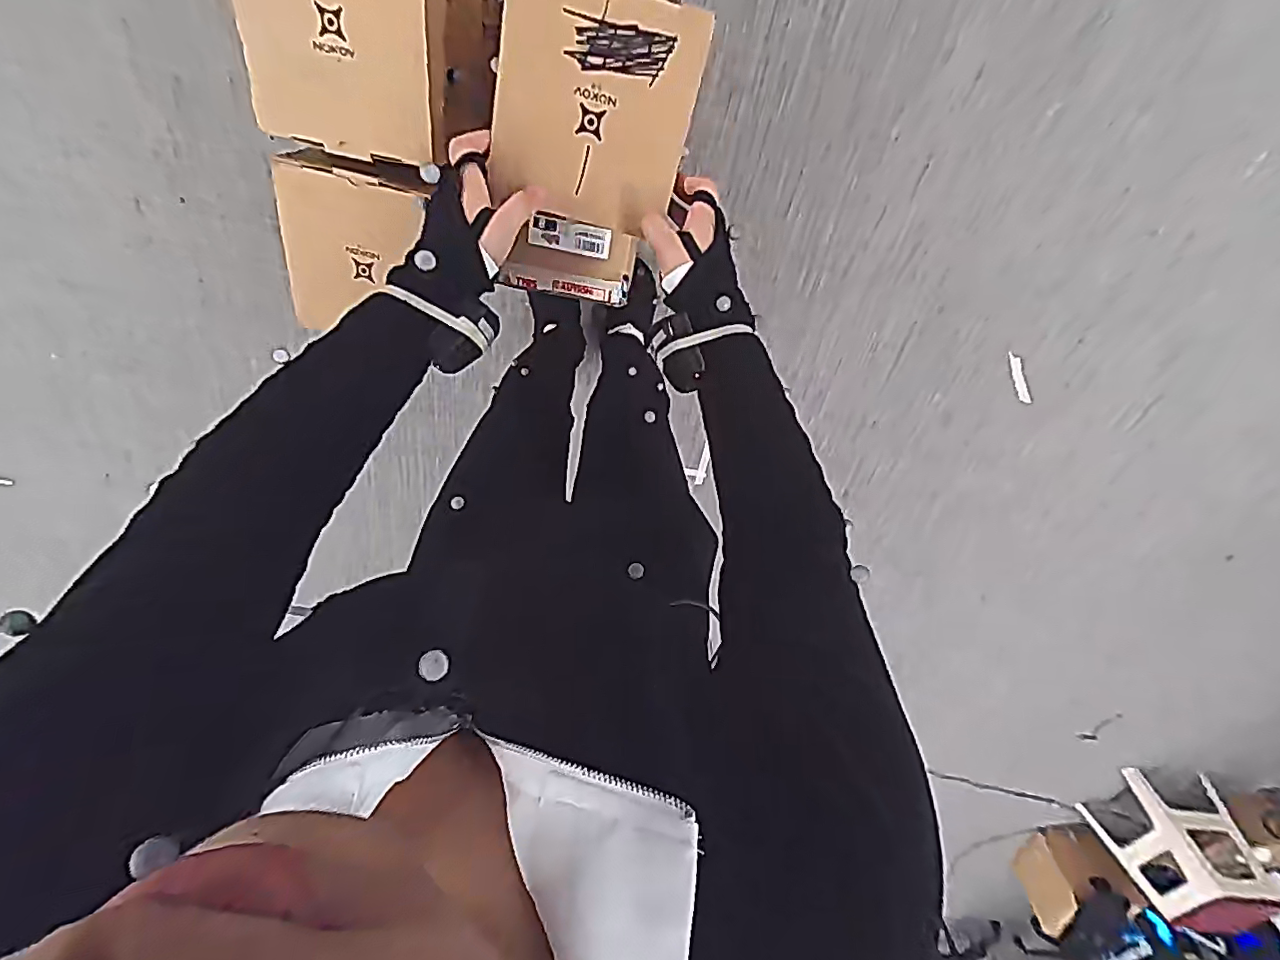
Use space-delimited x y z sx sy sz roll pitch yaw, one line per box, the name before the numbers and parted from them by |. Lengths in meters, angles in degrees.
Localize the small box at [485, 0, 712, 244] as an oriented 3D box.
small box | -0.045 -0.354 0.528 0.168 0.176 0.179 11 121 -10
